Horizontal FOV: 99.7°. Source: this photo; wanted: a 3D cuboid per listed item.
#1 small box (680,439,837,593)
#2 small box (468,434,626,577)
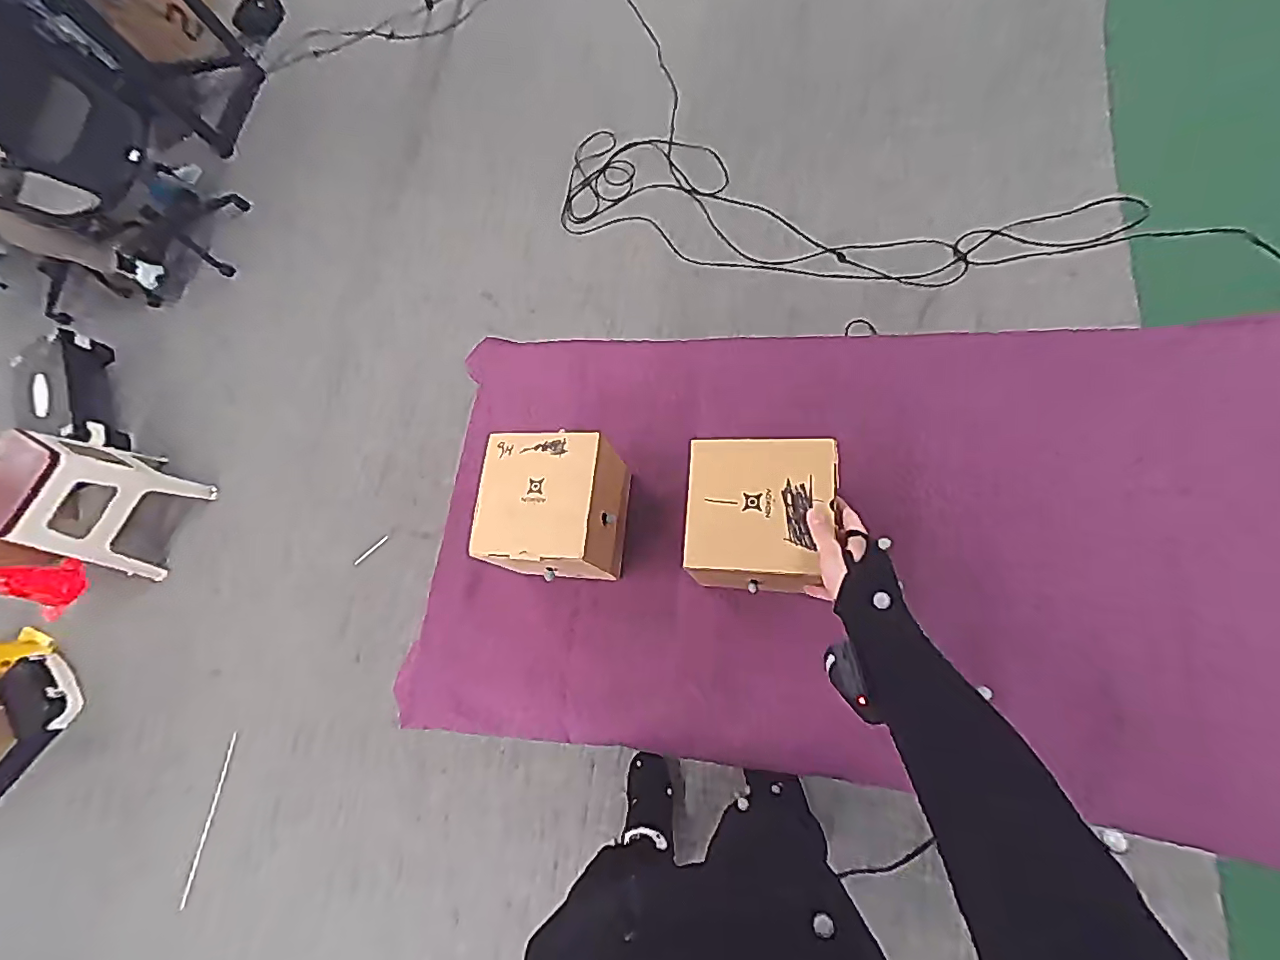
[{"bbox_3d":[0.158,0.053,0.709,0.179,0.176,0.168,1,72,16],"label":"small box"},{"bbox_3d":[-0.123,0.044,0.786,0.168,0.176,0.179,1,73,14],"label":"small box"}]
